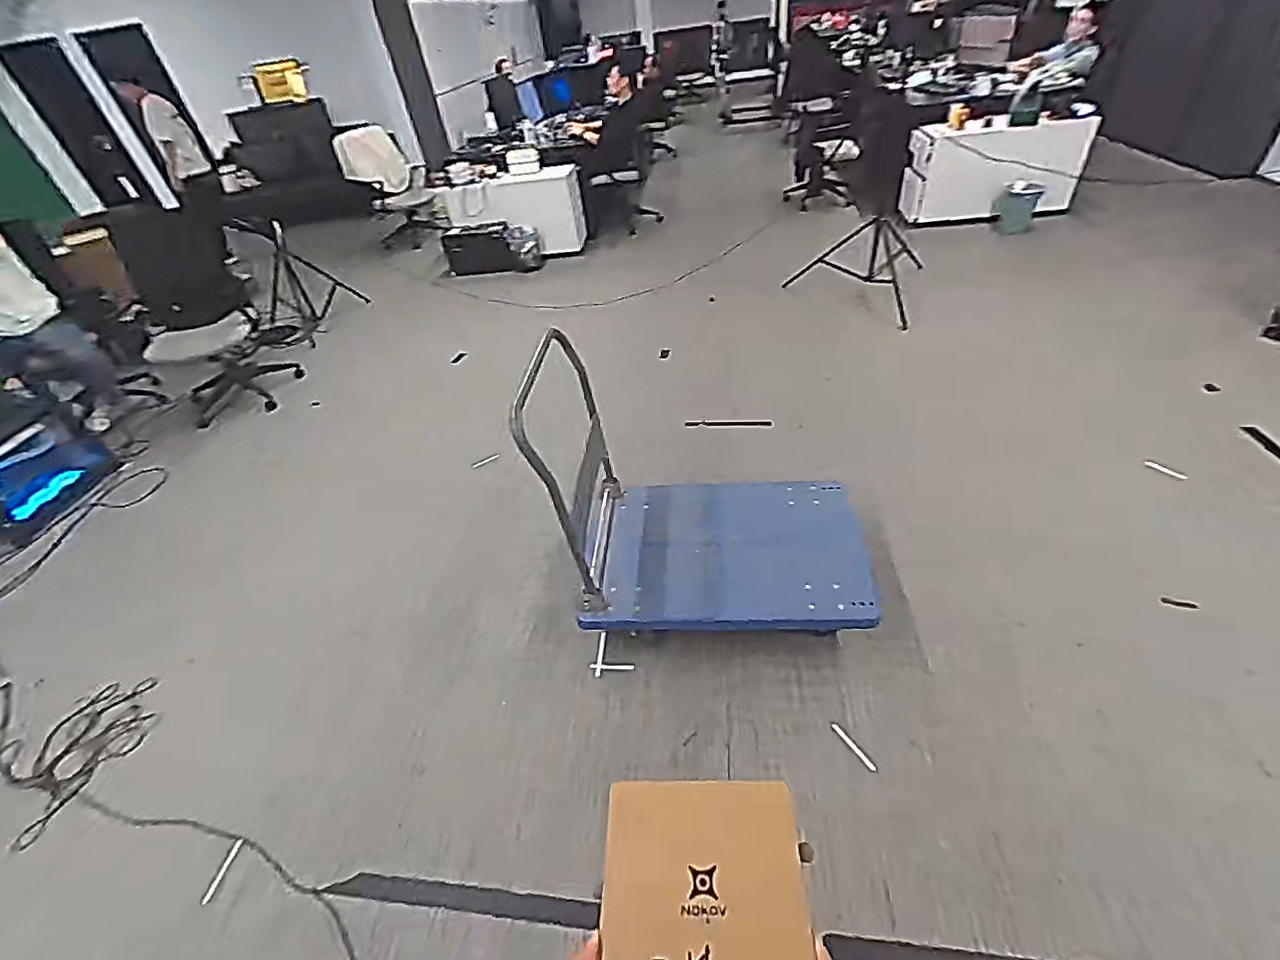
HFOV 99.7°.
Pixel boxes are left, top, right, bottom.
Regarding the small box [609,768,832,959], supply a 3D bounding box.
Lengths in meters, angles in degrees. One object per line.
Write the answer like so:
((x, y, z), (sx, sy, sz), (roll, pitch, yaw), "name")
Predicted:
((0.069, 0.385, 0.484), (0.168, 0.176, 0.179), (-4, 39, 6), "small box")
